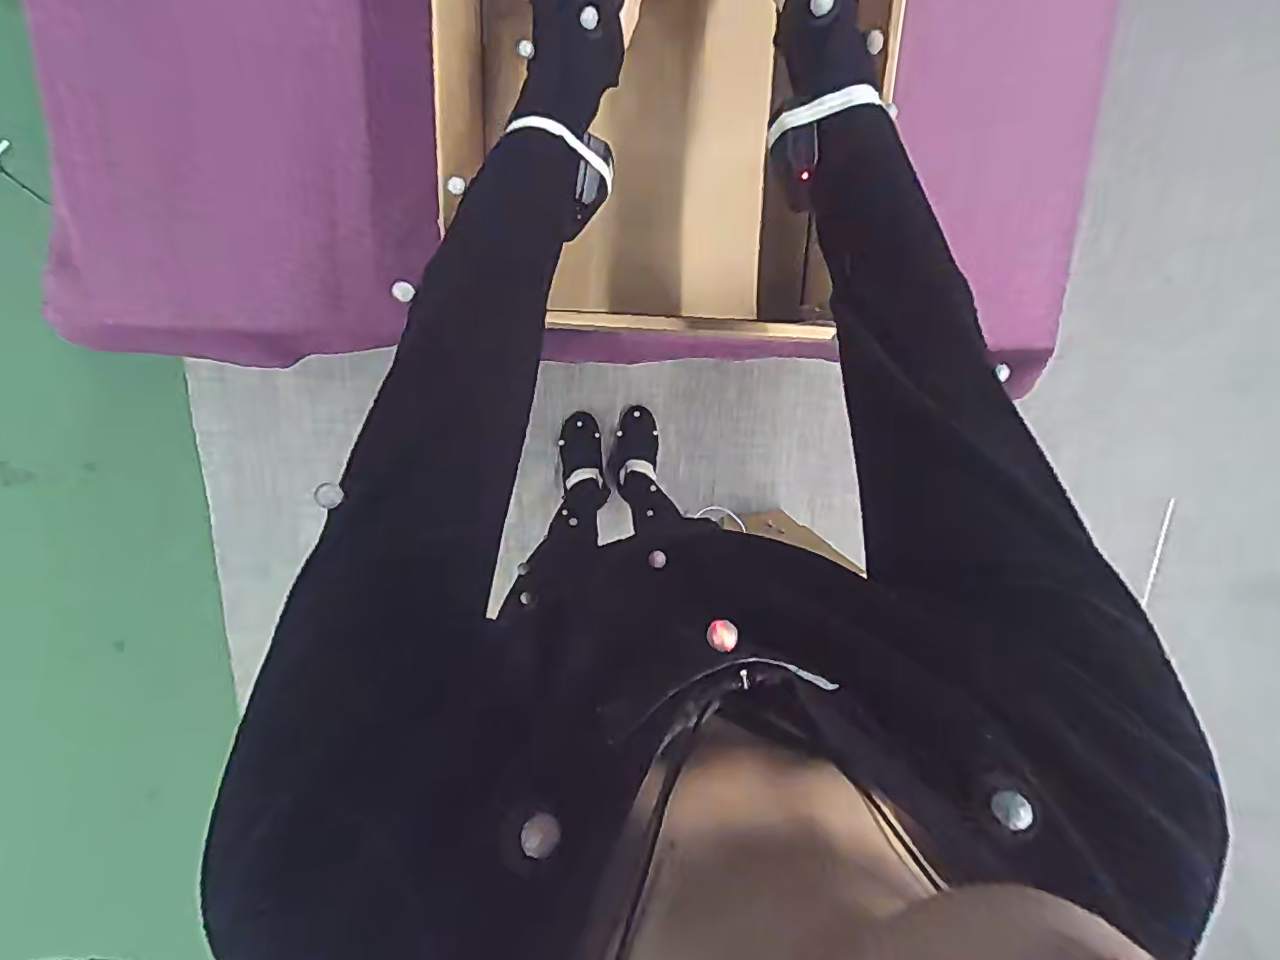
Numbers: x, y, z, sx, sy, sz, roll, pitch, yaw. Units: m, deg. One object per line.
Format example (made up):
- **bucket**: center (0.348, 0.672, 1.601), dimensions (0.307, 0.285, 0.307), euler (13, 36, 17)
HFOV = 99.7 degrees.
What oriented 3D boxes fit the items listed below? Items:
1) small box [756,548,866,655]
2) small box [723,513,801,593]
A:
- **small box**: center (0.355, 0.251, 1.152), dimensions (0.168, 0.176, 0.179), euler (2, 101, -5)
- **small box**: center (0.326, 0.194, 1.475), dimensions (0.179, 0.176, 0.168), euler (-5, 103, -4)
